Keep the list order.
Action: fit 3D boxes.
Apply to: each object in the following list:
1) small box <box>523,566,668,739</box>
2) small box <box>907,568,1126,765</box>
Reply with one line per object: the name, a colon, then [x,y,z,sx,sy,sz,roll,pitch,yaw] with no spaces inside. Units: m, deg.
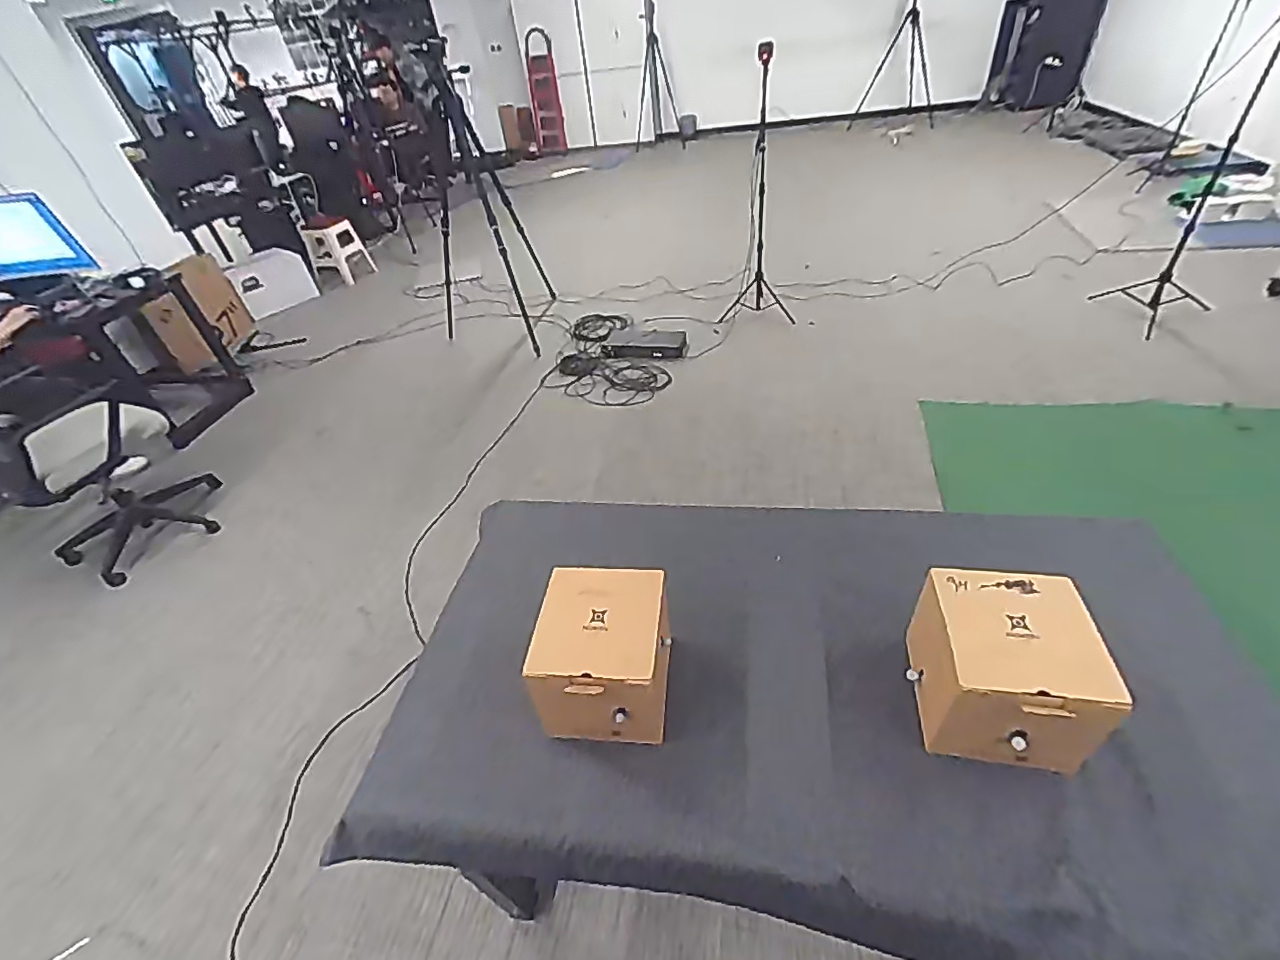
small box: [-0.049,0.245,0.770,0.168,0.176,0.179,1,39,8]
small box: [0.457,0.239,0.694,0.168,0.176,0.179,3,42,13]
